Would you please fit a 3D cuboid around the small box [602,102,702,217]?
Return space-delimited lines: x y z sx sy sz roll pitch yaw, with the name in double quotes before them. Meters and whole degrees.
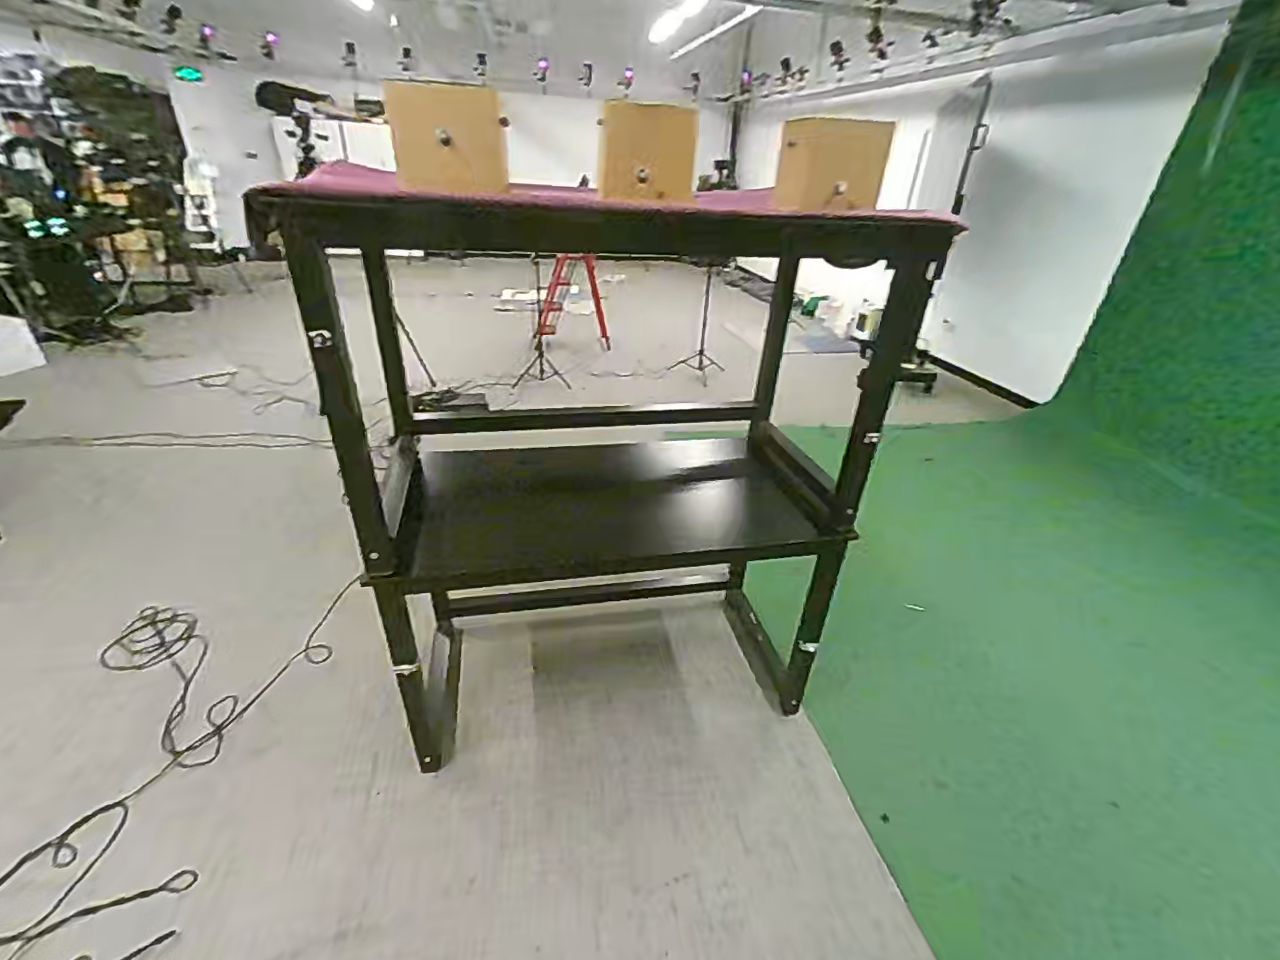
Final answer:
"small box" 0.014 -0.611 1.042 0.168 0.176 0.179 -2 29 -8

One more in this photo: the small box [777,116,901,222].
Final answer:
"small box" 0.394 -0.634 1.108 0.168 0.176 0.179 -2 31 -7
